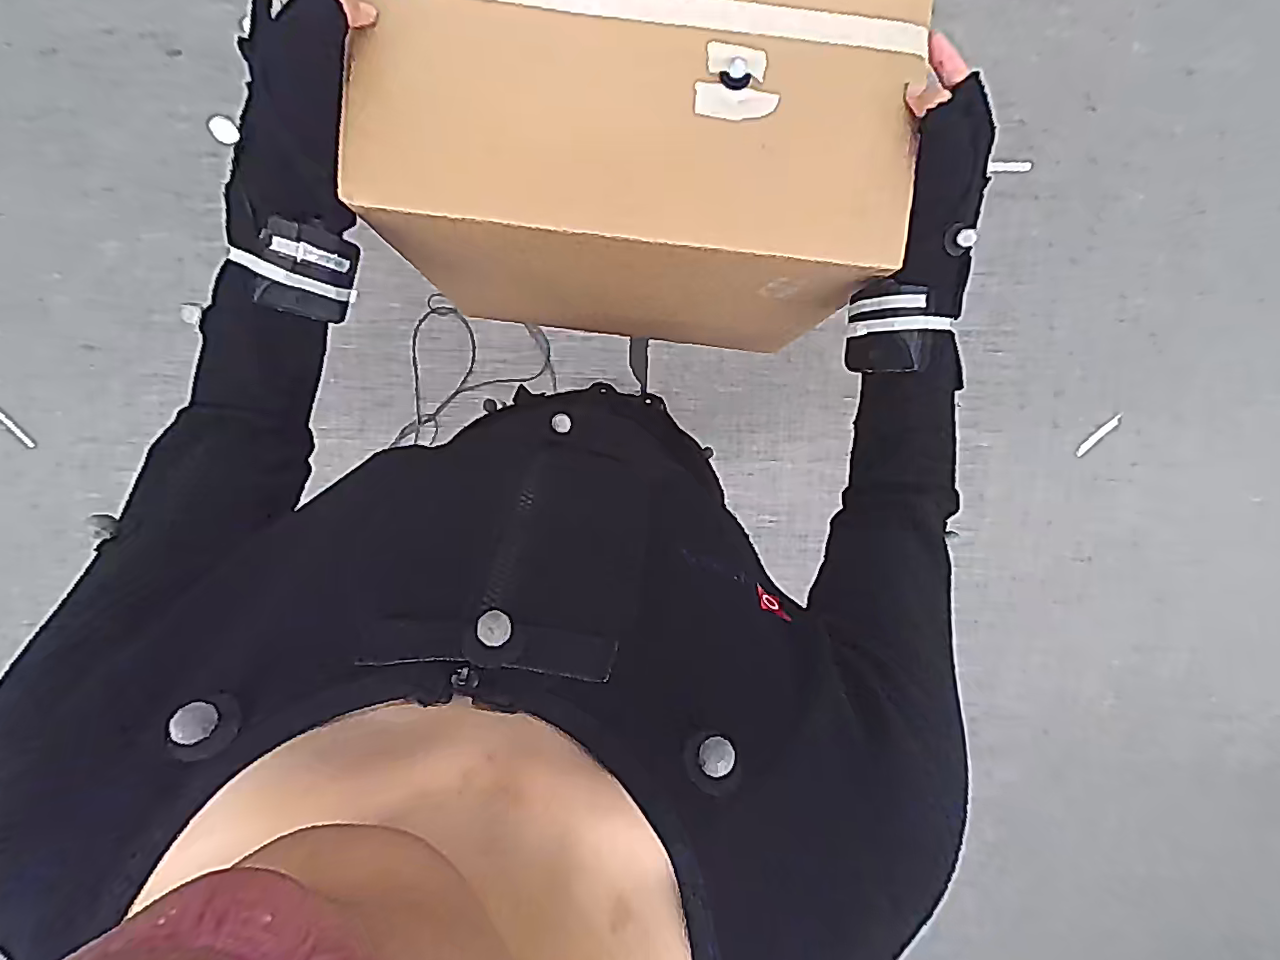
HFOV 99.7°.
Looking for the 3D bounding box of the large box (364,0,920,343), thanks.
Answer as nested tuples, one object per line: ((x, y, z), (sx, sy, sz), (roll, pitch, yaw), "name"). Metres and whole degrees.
((0.000, -0.340, 0.545), (0.408, 0.320, 0.320), (6, 92, -3), "large box")
